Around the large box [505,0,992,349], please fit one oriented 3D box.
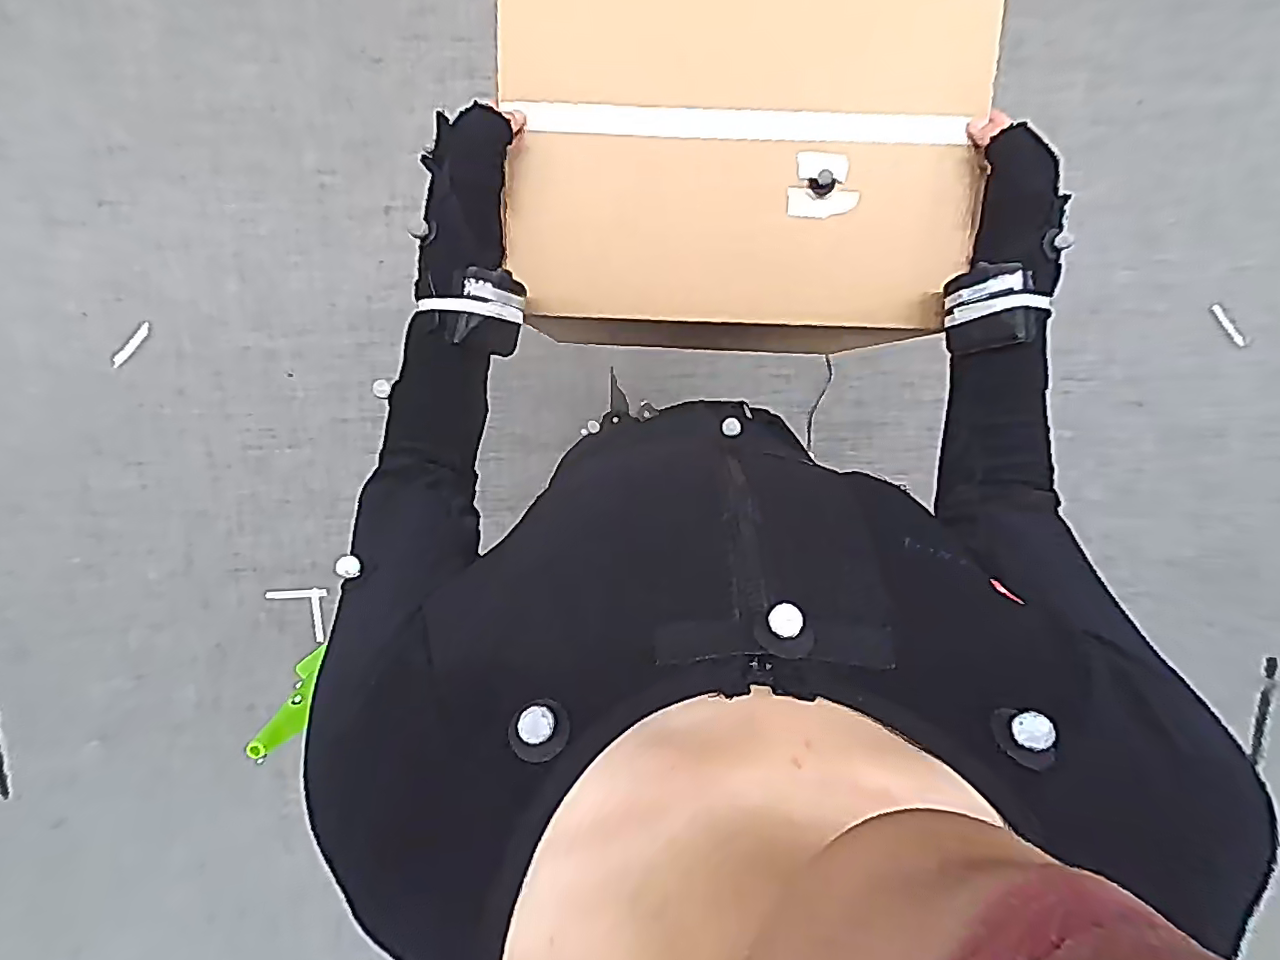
[{"bbox_3d":[0.083,-0.318,0.601,0.408,0.320,0.320,2,100,-1],"label":"large box"}]
